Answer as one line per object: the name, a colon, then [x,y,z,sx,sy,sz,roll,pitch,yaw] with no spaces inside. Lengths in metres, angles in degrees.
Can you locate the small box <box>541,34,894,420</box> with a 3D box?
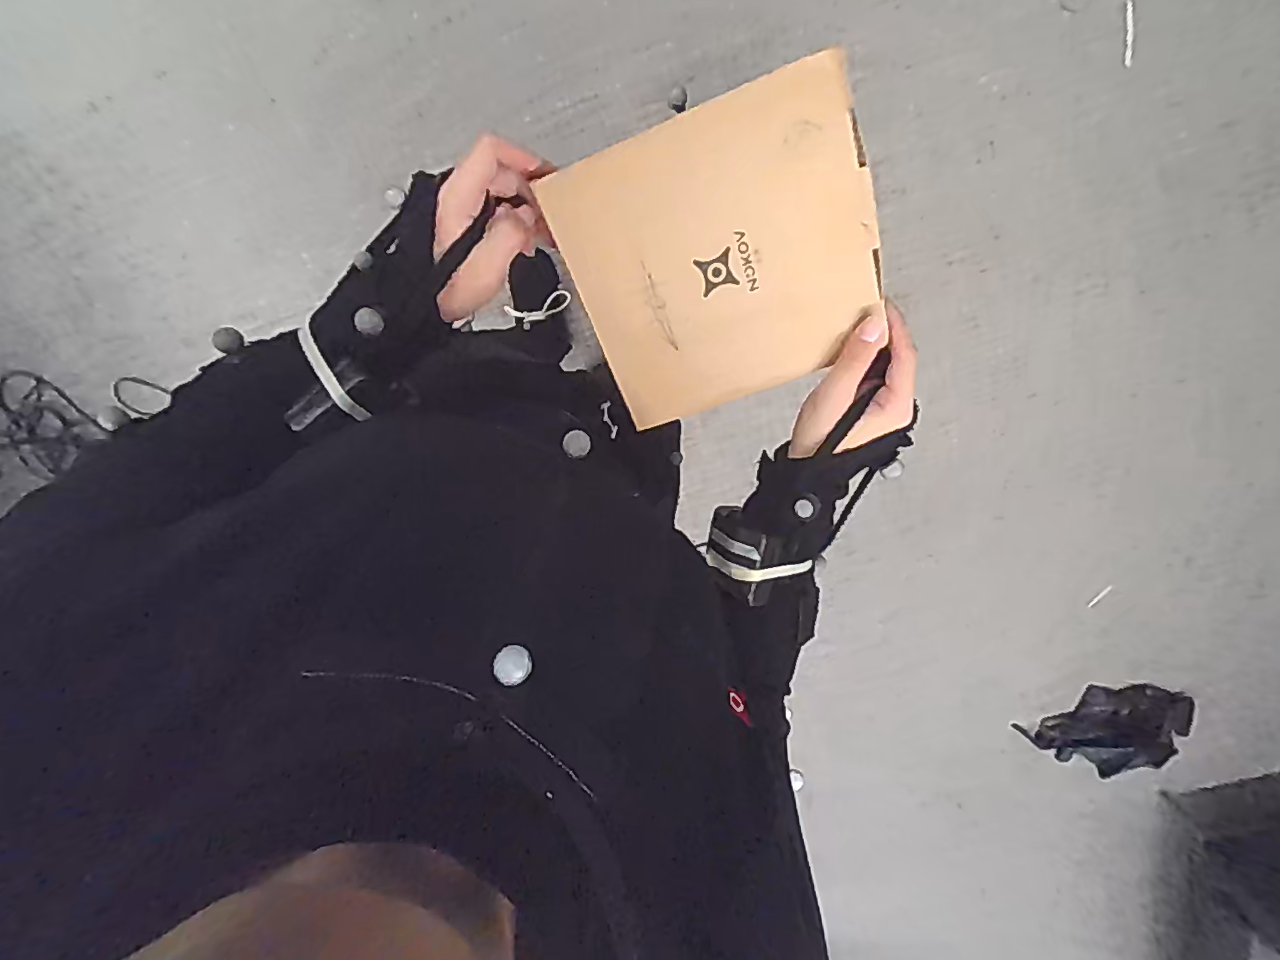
small box: [0.053,-0.173,0.389,0.179,0.176,0.168,-18,118,13]
